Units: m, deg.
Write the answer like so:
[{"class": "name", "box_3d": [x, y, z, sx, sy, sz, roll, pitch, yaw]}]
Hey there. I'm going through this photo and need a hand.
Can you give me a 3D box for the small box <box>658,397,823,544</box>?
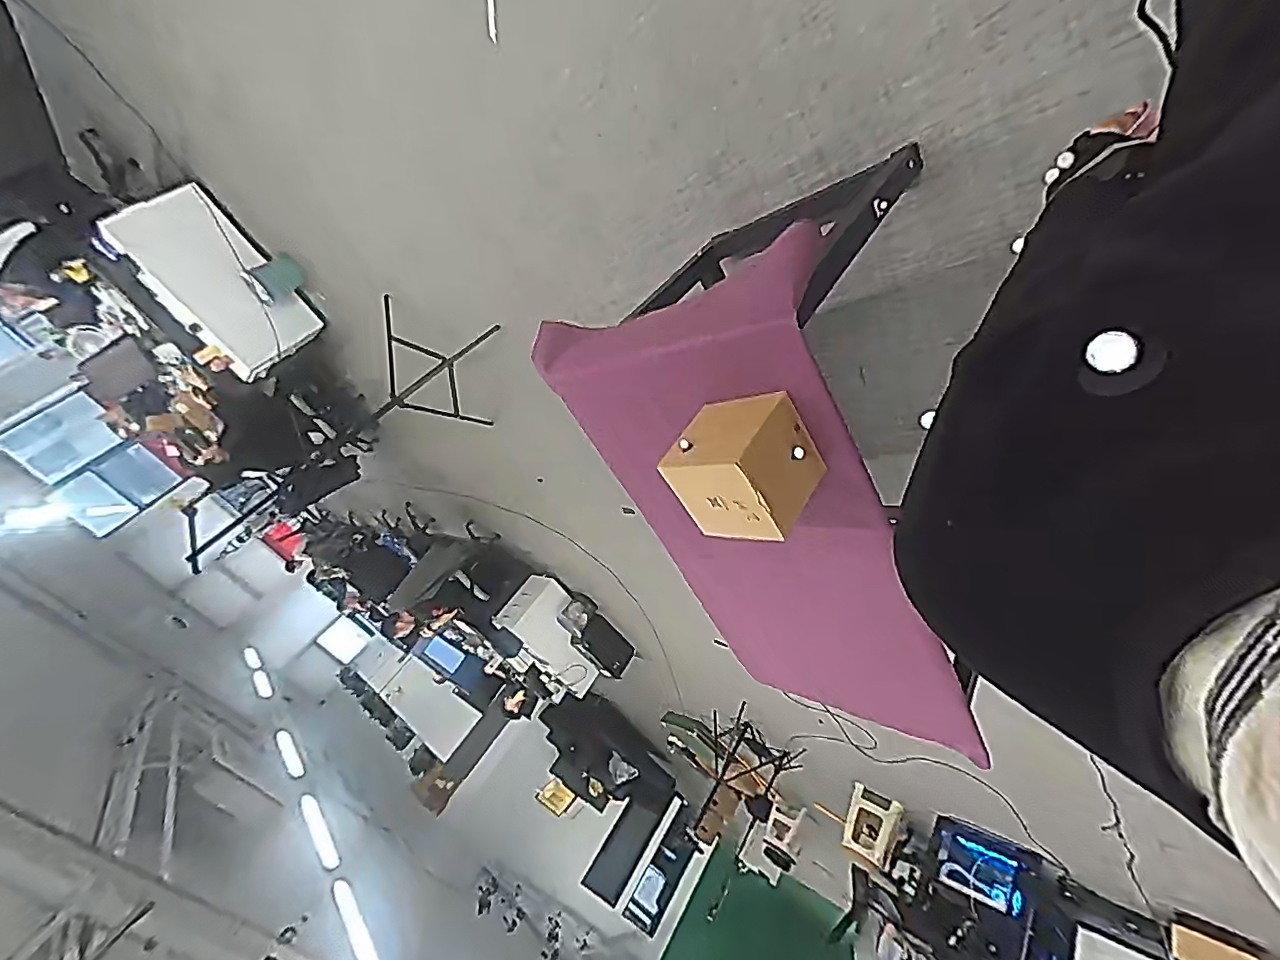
[{"class": "small box", "box_3d": [0.169, -0.017, 0.892, 0.179, 0.176, 0.168, -2, 132, 50]}]
